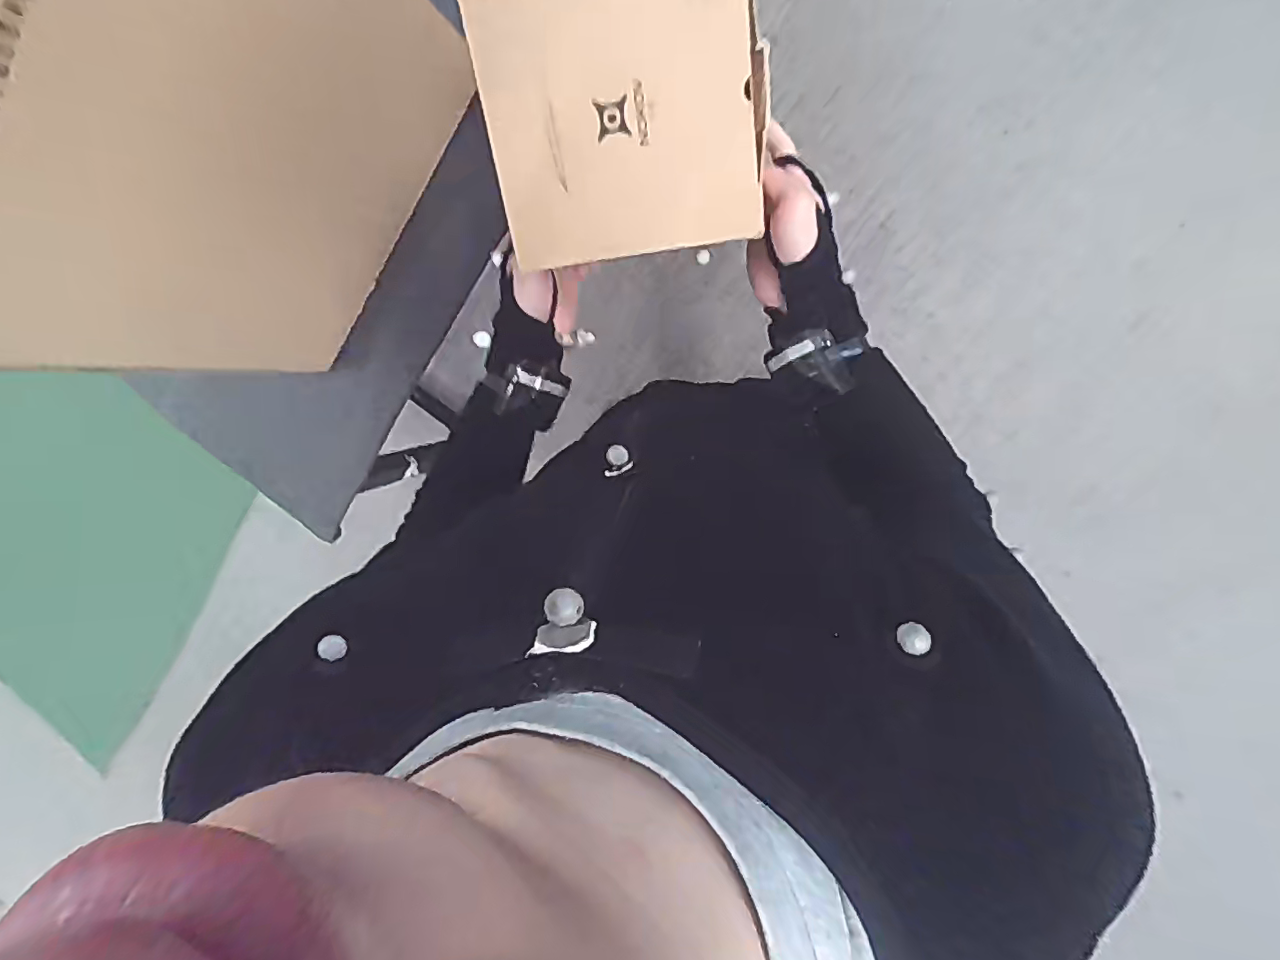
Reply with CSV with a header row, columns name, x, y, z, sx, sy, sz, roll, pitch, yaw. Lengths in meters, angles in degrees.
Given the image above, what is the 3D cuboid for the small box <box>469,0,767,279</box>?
name,x,y,z,sx,sy,sz,roll,pitch,yaw
small box,0.000,-0.260,0.423,0.179,0.176,0.168,-5,112,12
